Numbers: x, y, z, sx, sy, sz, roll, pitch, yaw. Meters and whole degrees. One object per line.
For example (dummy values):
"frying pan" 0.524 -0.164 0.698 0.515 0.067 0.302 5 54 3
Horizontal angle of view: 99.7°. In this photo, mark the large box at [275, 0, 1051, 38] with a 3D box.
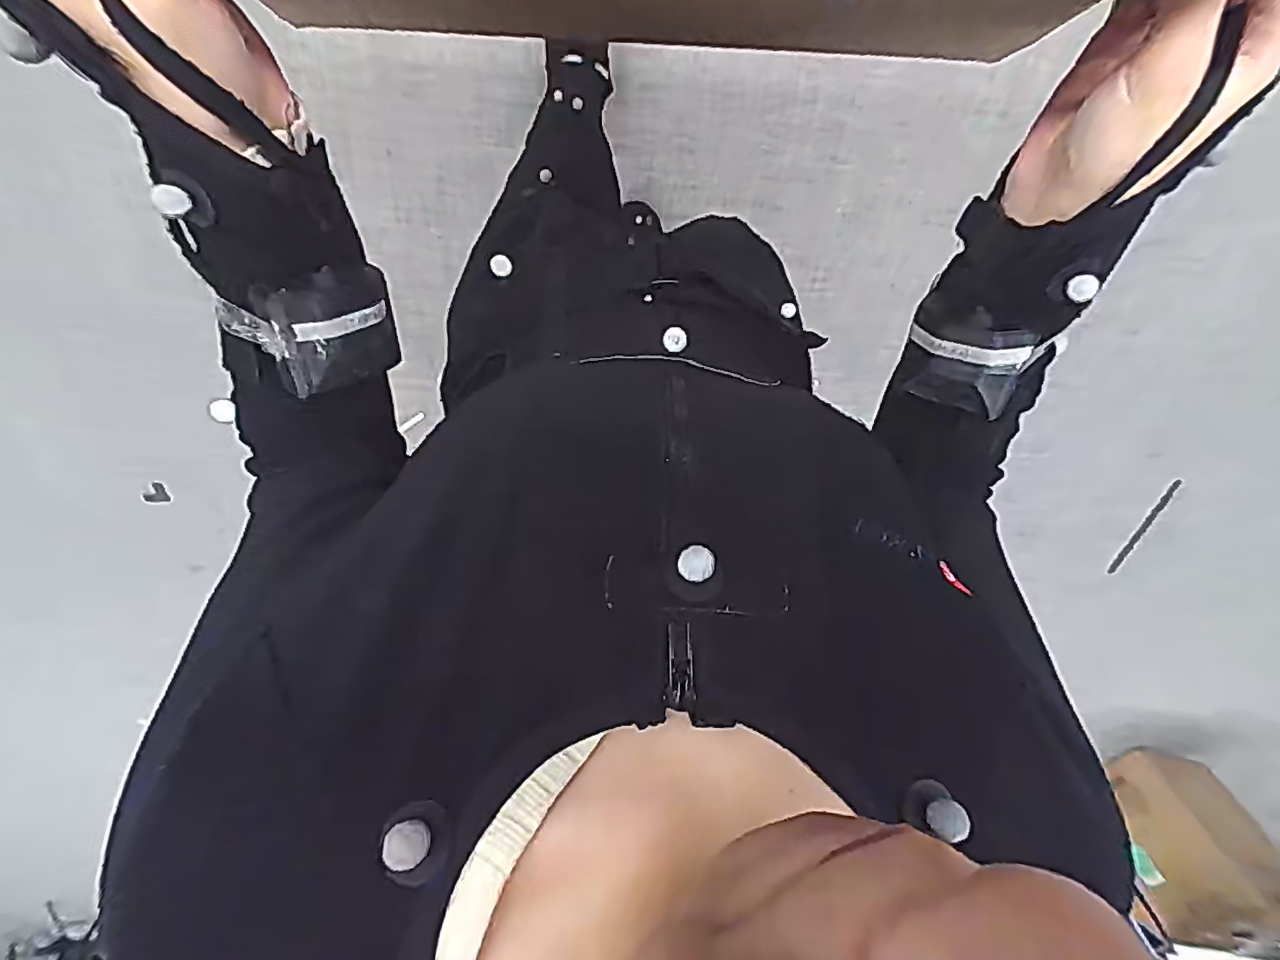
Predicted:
"large box" 0.015 -0.351 0.117 0.408 0.320 0.320 -1 110 -4
